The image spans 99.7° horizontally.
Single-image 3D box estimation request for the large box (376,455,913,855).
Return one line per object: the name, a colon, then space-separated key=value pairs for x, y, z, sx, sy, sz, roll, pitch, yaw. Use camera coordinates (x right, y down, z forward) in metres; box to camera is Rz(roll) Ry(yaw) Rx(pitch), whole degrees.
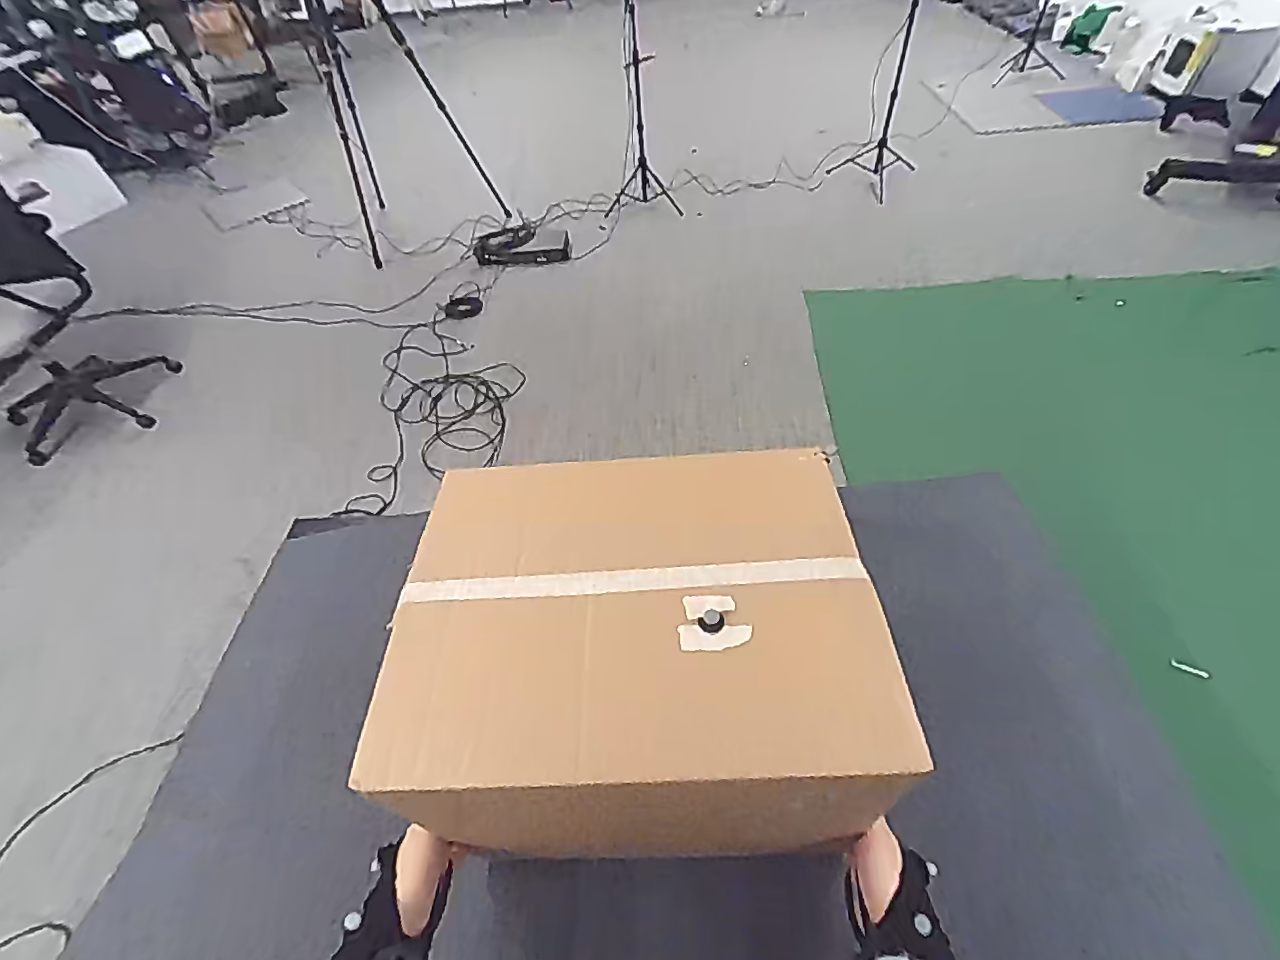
large box: x=0.005 y=0.199 z=0.600 sx=0.408 sy=0.320 sz=0.320 roll=-3 pitch=48 yaw=2
